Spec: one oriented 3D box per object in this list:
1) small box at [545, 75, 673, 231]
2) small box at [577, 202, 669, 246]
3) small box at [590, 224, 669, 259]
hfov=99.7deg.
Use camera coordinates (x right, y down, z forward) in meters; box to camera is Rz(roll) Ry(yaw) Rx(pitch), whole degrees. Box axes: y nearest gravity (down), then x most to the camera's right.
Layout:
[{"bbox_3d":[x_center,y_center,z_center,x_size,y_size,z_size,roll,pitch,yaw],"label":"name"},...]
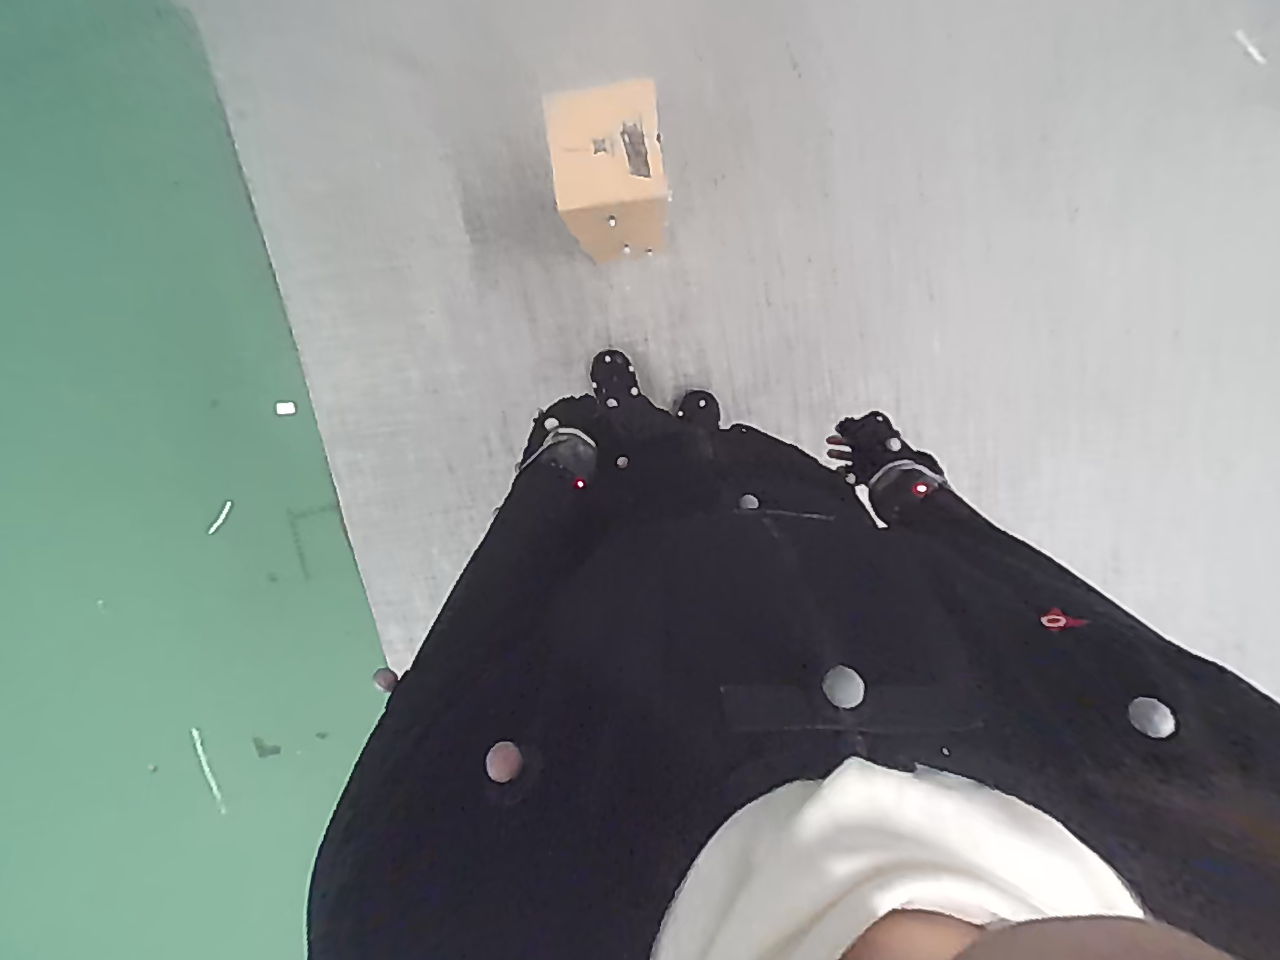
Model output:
[{"bbox_3d":[-0.047,-0.534,0.907,0.179,0.176,0.168,-9,102,3],"label":"small box"},{"bbox_3d":[-0.037,-0.570,1.067,0.179,0.176,0.168,-4,103,3],"label":"small box"},{"bbox_3d":[-0.031,-0.612,1.226,0.179,0.176,0.168,-8,102,5],"label":"small box"}]
